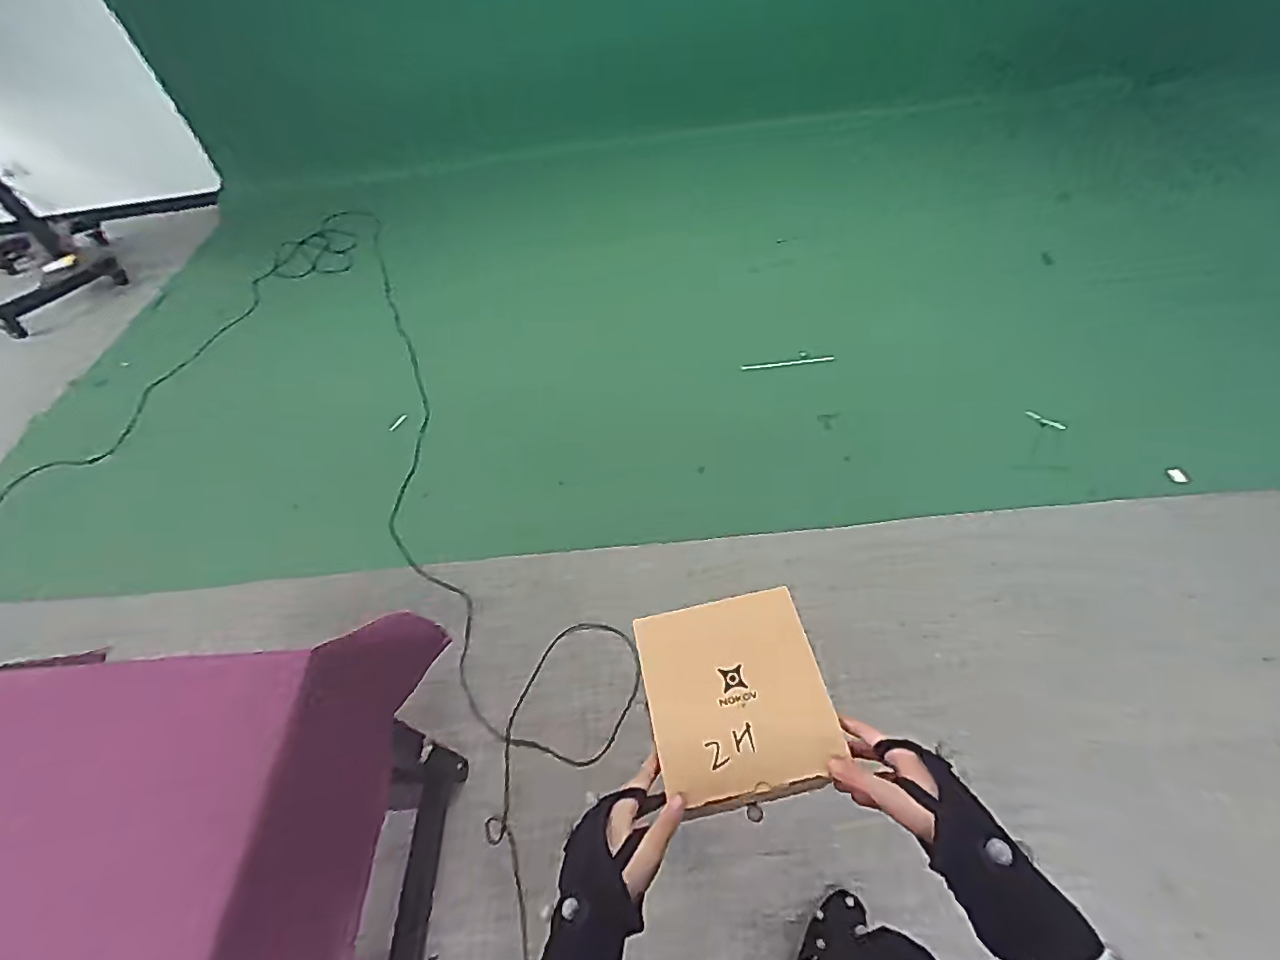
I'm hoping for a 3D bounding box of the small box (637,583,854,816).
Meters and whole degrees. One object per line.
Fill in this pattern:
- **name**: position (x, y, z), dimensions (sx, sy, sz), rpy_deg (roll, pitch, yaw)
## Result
- **small box**: position (0.096, 0.235, 0.569), dimensions (0.168, 0.176, 0.179), rpy_deg (-12, 55, -1)
